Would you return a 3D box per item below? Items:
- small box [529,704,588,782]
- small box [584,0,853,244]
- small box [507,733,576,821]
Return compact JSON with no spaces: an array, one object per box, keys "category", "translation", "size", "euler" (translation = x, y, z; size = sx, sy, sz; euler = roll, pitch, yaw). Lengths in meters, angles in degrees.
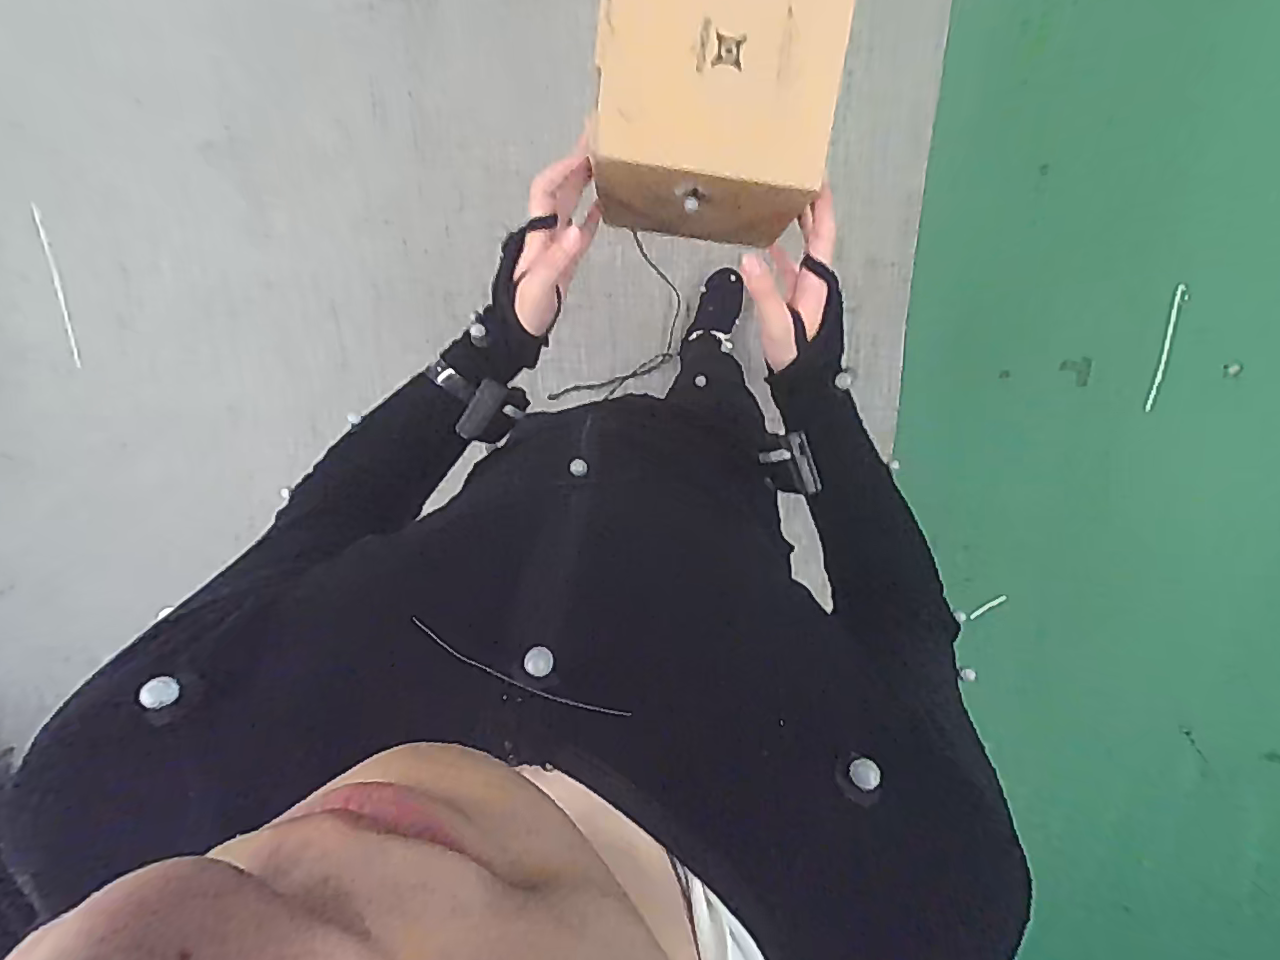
[{"category":"small box","translation":[-0.273,0.874,1.809],"size":[0.179,0.176,0.168],"euler":[3,105,6]},{"category":"small box","translation":[0.057,-0.316,0.459],"size":[0.179,0.176,0.168],"euler":[8,99,-1]},{"category":"small box","translation":[-0.294,0.901,1.650],"size":[0.168,0.176,0.179],"euler":[-1,105,6]}]
